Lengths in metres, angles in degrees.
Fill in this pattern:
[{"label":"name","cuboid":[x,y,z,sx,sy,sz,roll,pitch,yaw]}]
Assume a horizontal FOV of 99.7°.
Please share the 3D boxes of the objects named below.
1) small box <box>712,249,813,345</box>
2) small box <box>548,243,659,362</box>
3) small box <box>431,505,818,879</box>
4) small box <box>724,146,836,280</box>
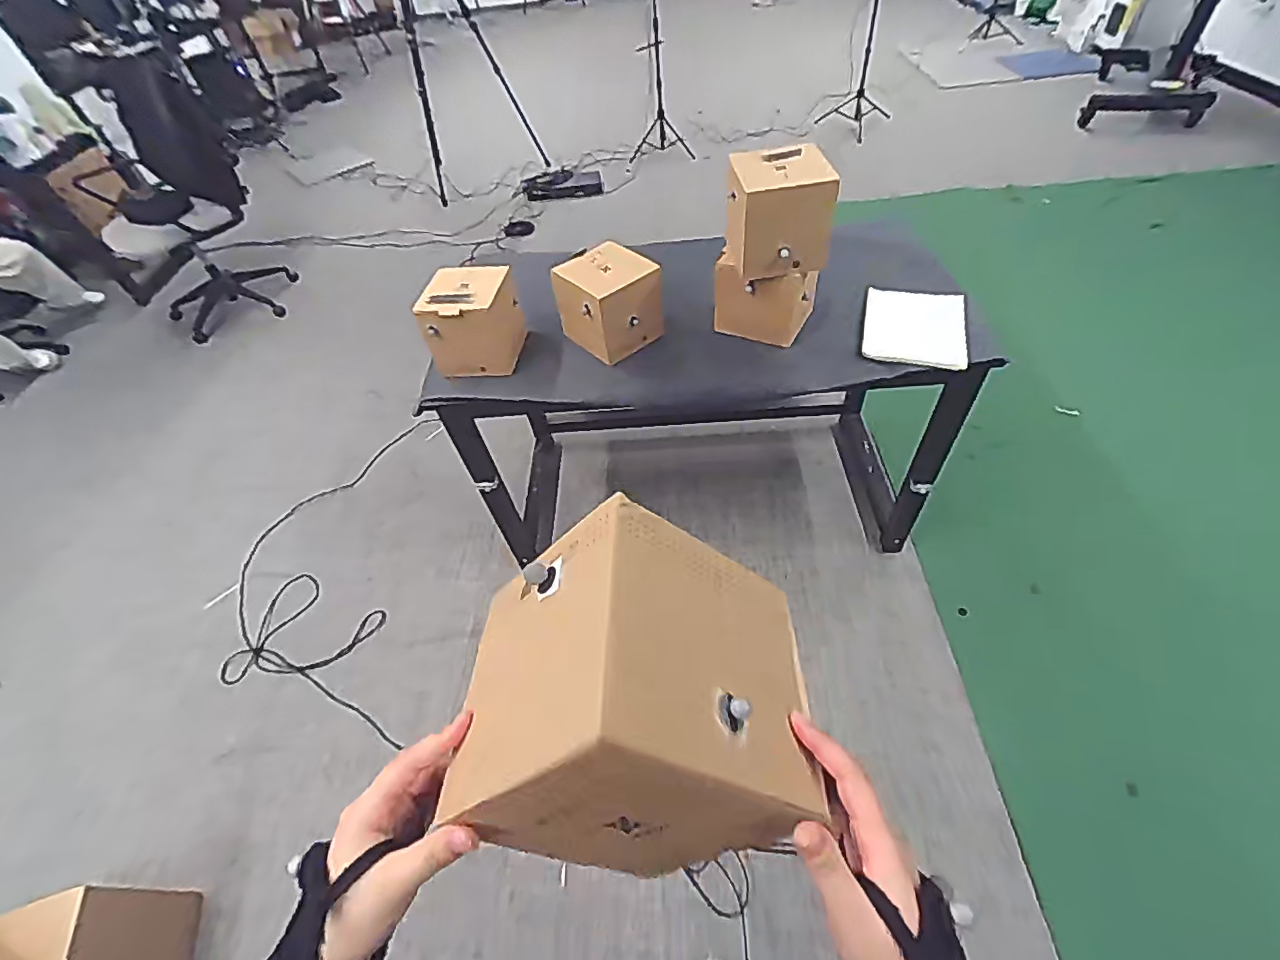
[{"label":"small box","cuboid":[0.270,-0.415,1.172,0.179,0.176,0.168,20,55,23]},{"label":"small box","cuboid":[-0.073,-0.385,1.189,0.168,0.176,0.179,-35,54,-22]},{"label":"small box","cuboid":[-0.009,0.148,0.383,0.179,0.168,0.176,33,31,-22]},{"label":"small box","cuboid":[0.256,-0.509,1.037,0.168,0.176,0.179,-8,50,2]}]
